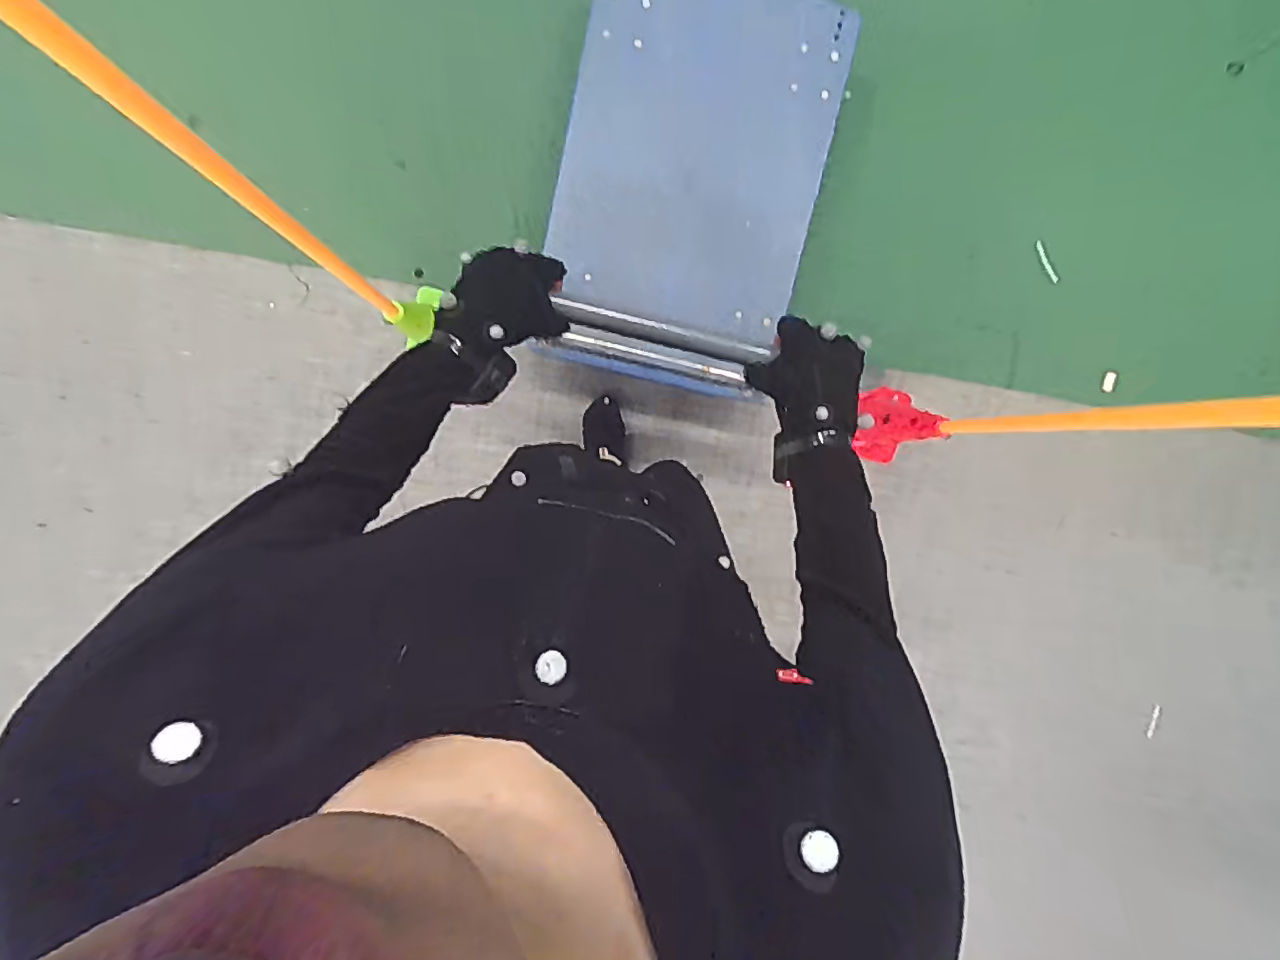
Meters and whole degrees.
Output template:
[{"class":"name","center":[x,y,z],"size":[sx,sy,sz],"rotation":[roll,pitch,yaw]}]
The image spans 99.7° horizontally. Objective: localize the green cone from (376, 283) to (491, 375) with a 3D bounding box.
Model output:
[{"class":"green cone","center":[-0.494,-0.367,1.227],"size":[0.202,0.368,0.200],"rotation":[14,97,-3]}]
